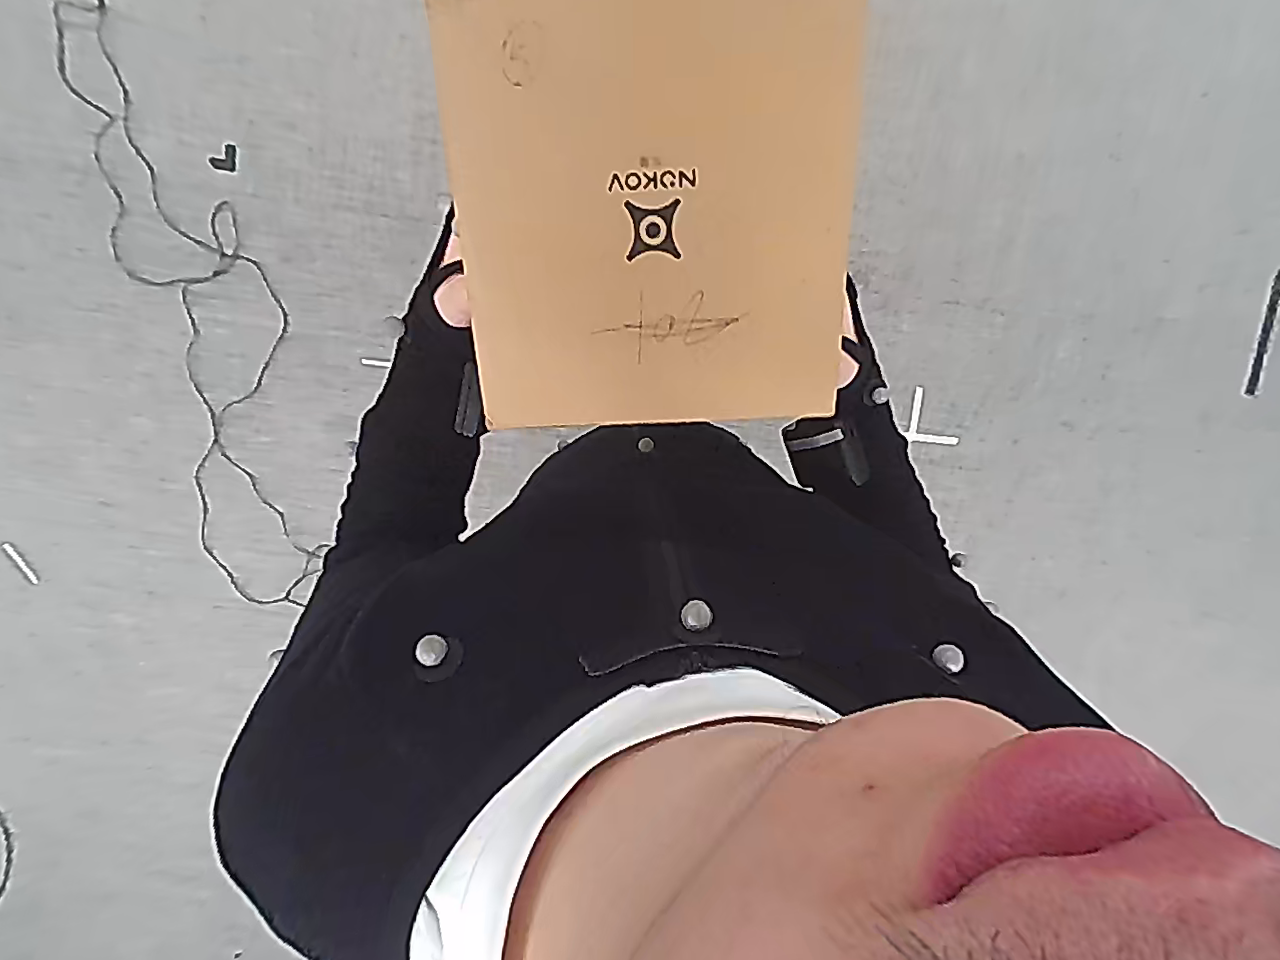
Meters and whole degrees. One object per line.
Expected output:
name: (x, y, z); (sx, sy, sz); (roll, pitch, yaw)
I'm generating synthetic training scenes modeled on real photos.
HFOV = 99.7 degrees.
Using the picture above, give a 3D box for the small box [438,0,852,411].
small box: (0.005, -0.145, 0.311); (0.168, 0.176, 0.179); (-2, 111, 2)
